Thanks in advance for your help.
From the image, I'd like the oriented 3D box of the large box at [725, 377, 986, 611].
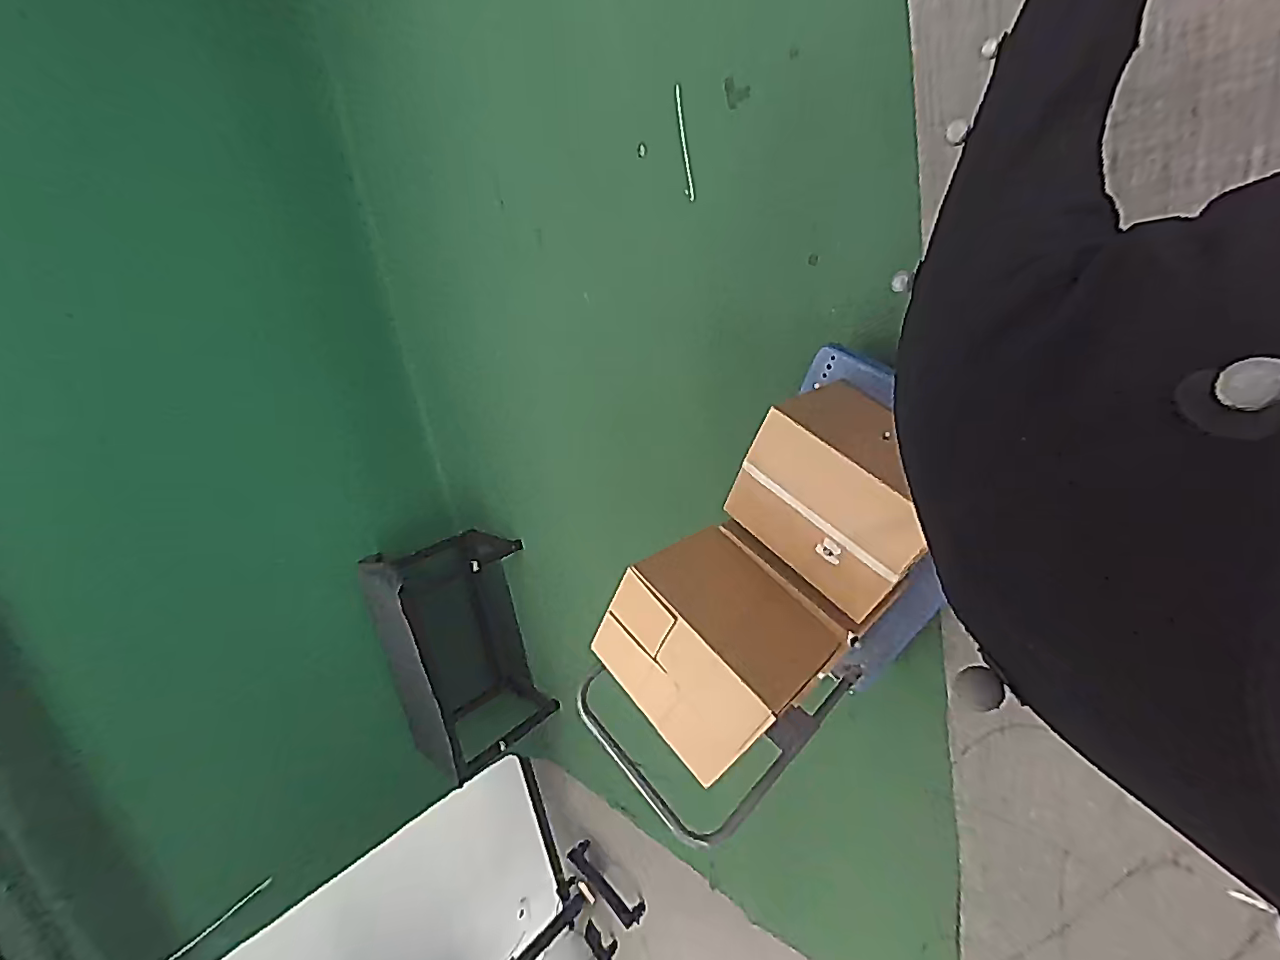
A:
[{"bbox_3d":[0.480,0.010,1.251,0.408,0.320,0.320,41,134,26],"label":"large box"}]
